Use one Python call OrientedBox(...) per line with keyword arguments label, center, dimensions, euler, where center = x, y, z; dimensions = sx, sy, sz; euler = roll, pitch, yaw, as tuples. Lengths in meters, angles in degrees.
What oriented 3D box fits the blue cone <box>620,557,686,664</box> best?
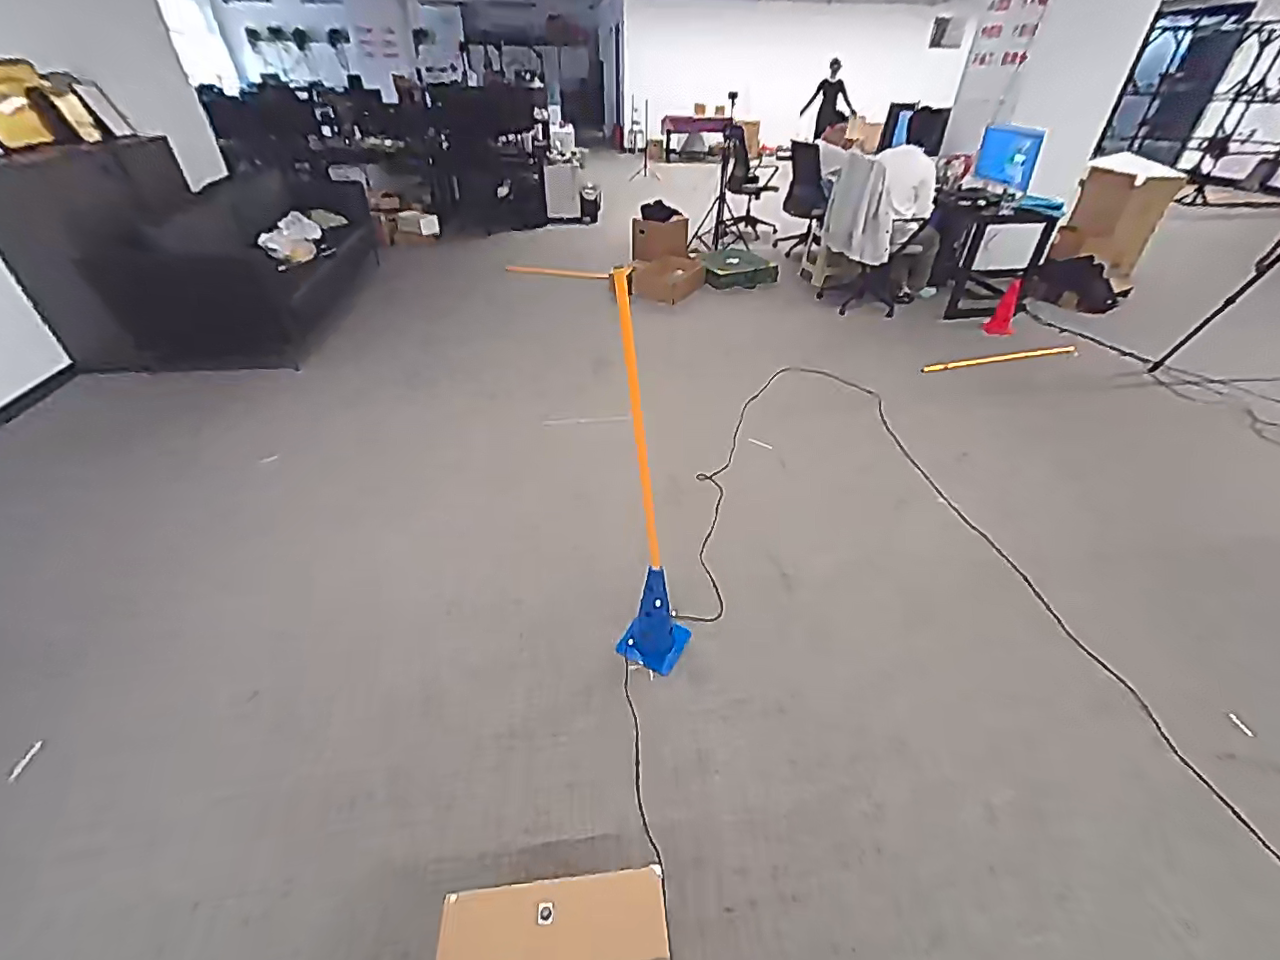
OrientedBox(label="blue cone", center=(0.045, 0.384, 1.687), dimensions=(0.192, 0.380, 0.193), euler=(17, 42, 21))
